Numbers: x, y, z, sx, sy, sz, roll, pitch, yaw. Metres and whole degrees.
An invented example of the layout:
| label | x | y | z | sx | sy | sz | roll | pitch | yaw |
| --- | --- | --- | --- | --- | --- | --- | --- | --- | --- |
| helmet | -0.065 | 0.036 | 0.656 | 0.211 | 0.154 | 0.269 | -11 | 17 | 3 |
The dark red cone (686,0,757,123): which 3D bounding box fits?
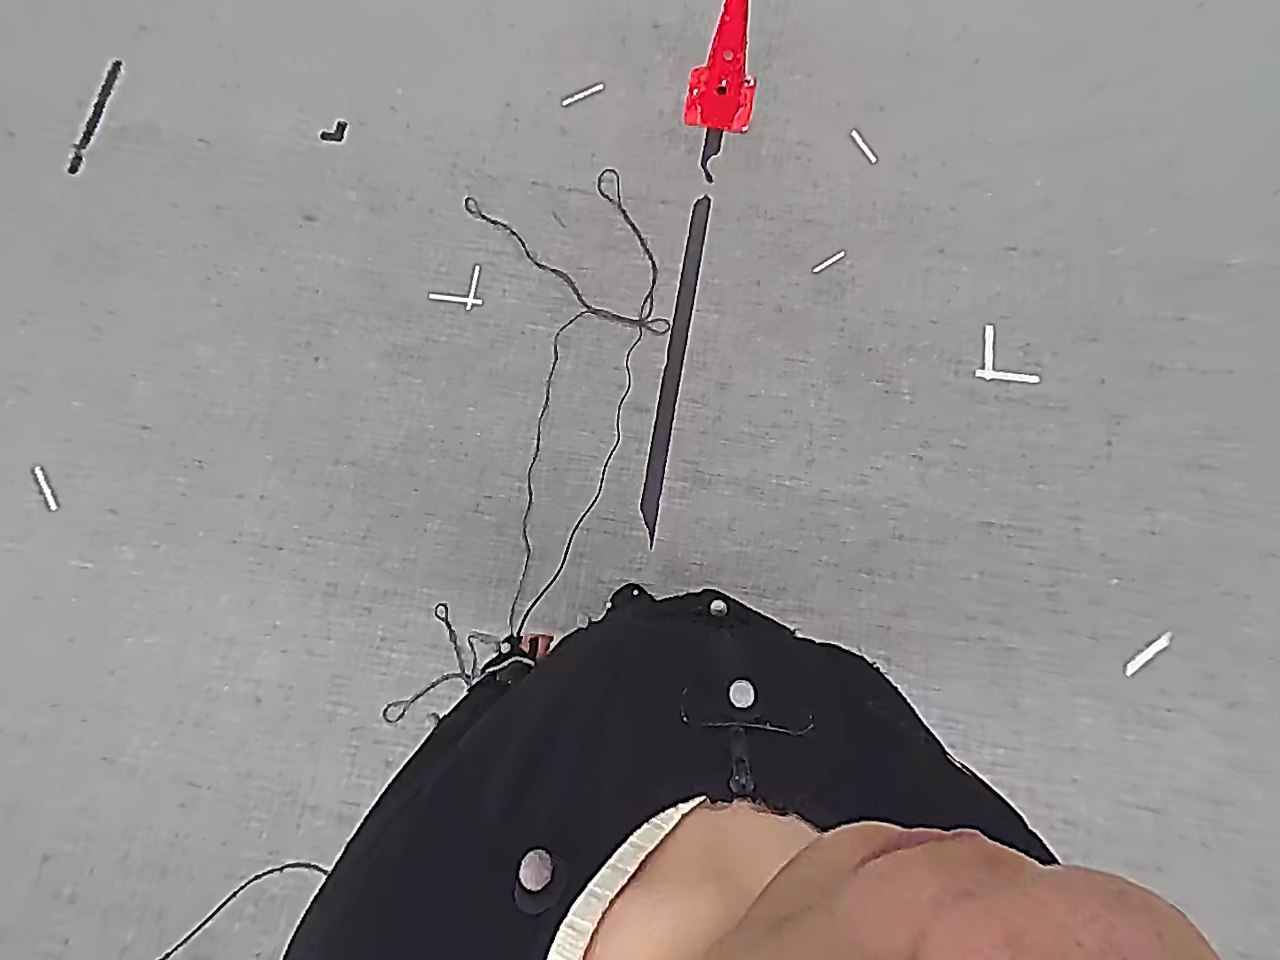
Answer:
| label | x | y | z | sx | sy | sz | roll | pitch | yaw |
| --- | --- | --- | --- | --- | --- | --- | --- | --- | --- |
| dark red cone | 0.238 | -1.182 | 1.439 | 0.201 | 0.394 | 0.202 | 8 | 81 | 2 |
